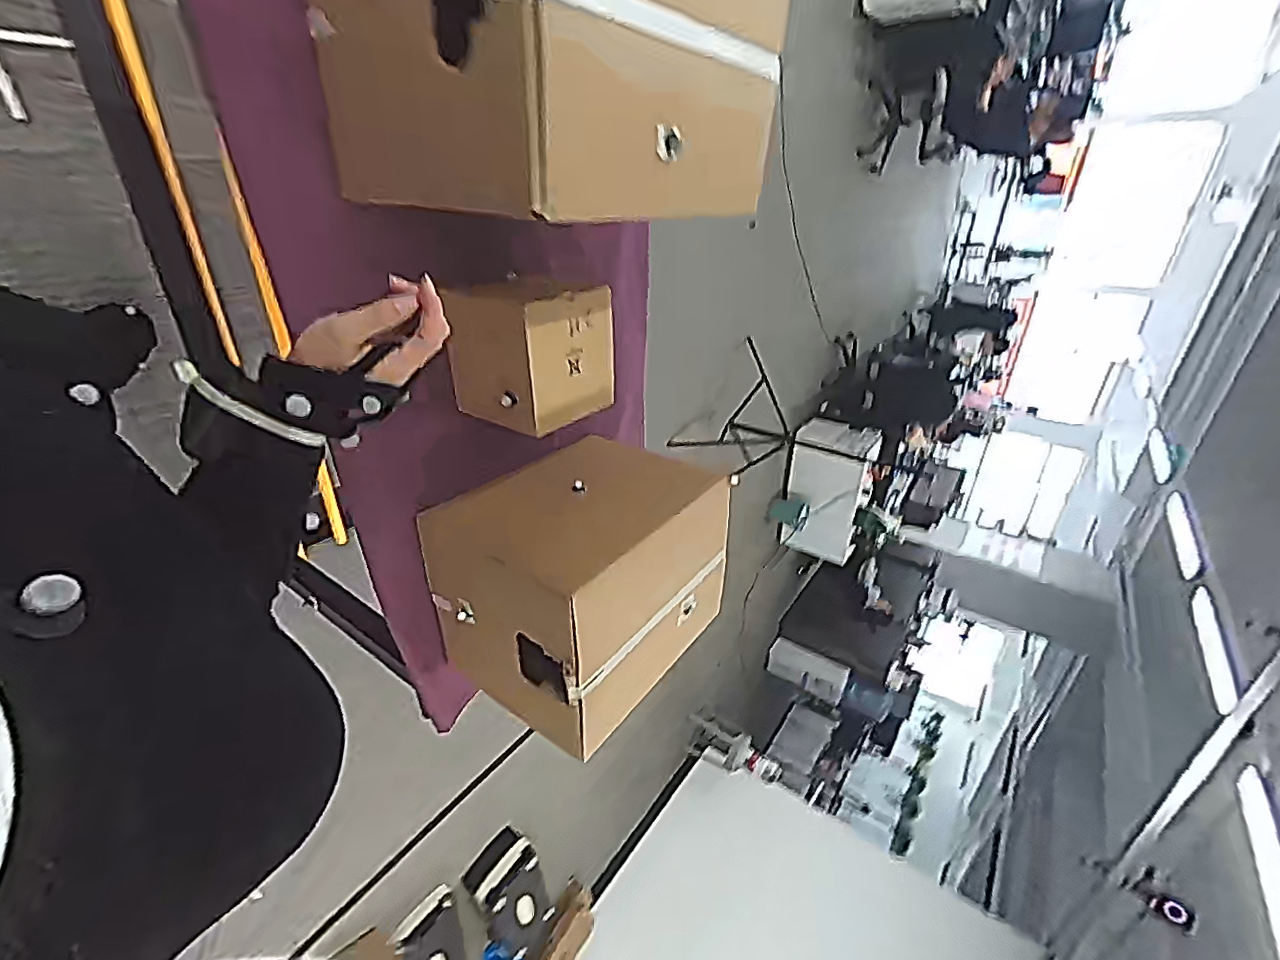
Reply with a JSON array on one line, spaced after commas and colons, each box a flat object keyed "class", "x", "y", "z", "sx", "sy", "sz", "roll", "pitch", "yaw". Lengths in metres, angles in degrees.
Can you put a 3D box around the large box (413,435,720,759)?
[{"class": "large box", "x": -0.101, "y": 0.155, "z": 0.921, "sx": 0.408, "sy": 0.320, "sz": 0.320, "roll": -33, "pitch": 133, "yaw": -47}]
